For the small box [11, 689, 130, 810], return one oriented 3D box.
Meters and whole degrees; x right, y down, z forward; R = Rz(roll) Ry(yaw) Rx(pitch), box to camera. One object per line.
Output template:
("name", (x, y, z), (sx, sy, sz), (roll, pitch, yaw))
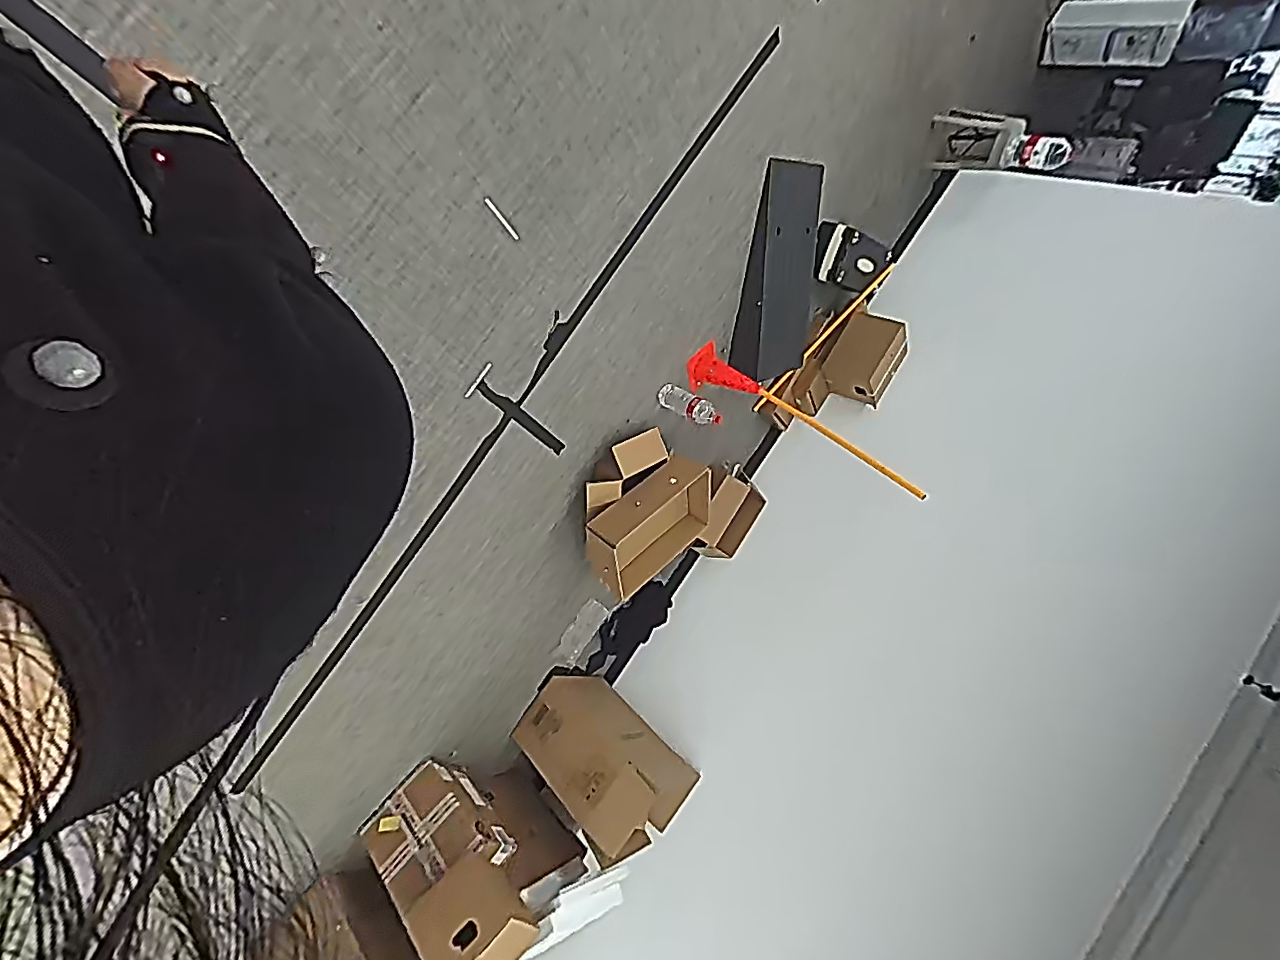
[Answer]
("small box", (-1.377, 0.638, 1.309), (0.168, 0.176, 0.179), (-17, 130, -45))
